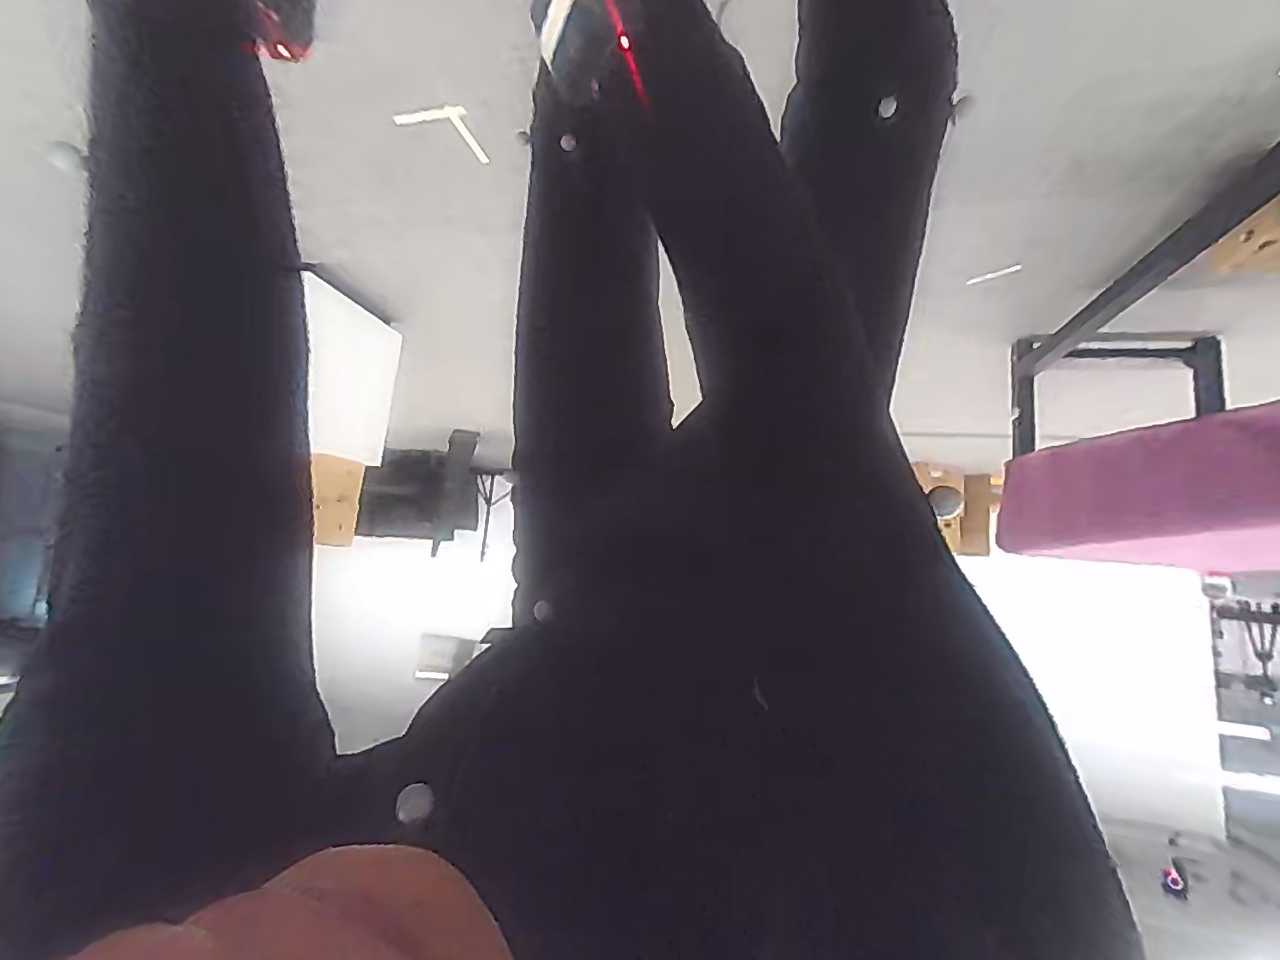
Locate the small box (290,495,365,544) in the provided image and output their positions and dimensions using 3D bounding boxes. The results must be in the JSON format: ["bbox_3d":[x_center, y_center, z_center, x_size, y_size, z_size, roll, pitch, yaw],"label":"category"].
[{"bbox_3d":[-1.196,0.152,2.077,0.168,0.176,0.179,5,172,13],"label":"small box"}]

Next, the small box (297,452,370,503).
[{"bbox_3d":[-1.184,-0.011,2.101,0.179,0.176,0.168,4,171,14],"label":"small box"}]
